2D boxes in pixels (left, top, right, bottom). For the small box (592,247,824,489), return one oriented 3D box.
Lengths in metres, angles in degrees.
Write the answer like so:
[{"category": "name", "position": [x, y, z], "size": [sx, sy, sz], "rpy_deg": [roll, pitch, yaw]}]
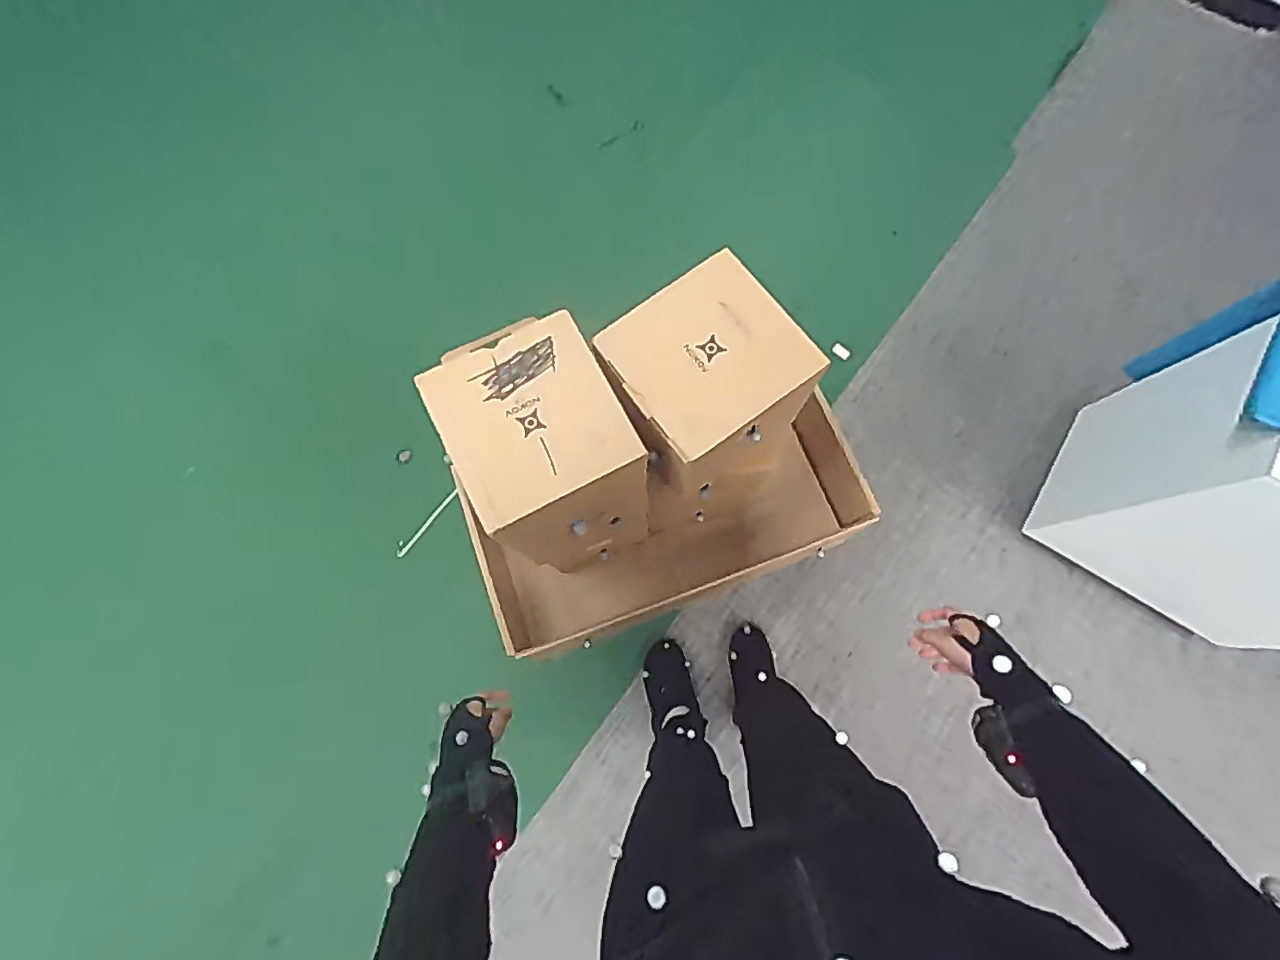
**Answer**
[{"category": "small box", "position": [0.070, -0.112, 0.612], "size": [0.179, 0.176, 0.168], "rpy_deg": [-34, 77, -6]}]
